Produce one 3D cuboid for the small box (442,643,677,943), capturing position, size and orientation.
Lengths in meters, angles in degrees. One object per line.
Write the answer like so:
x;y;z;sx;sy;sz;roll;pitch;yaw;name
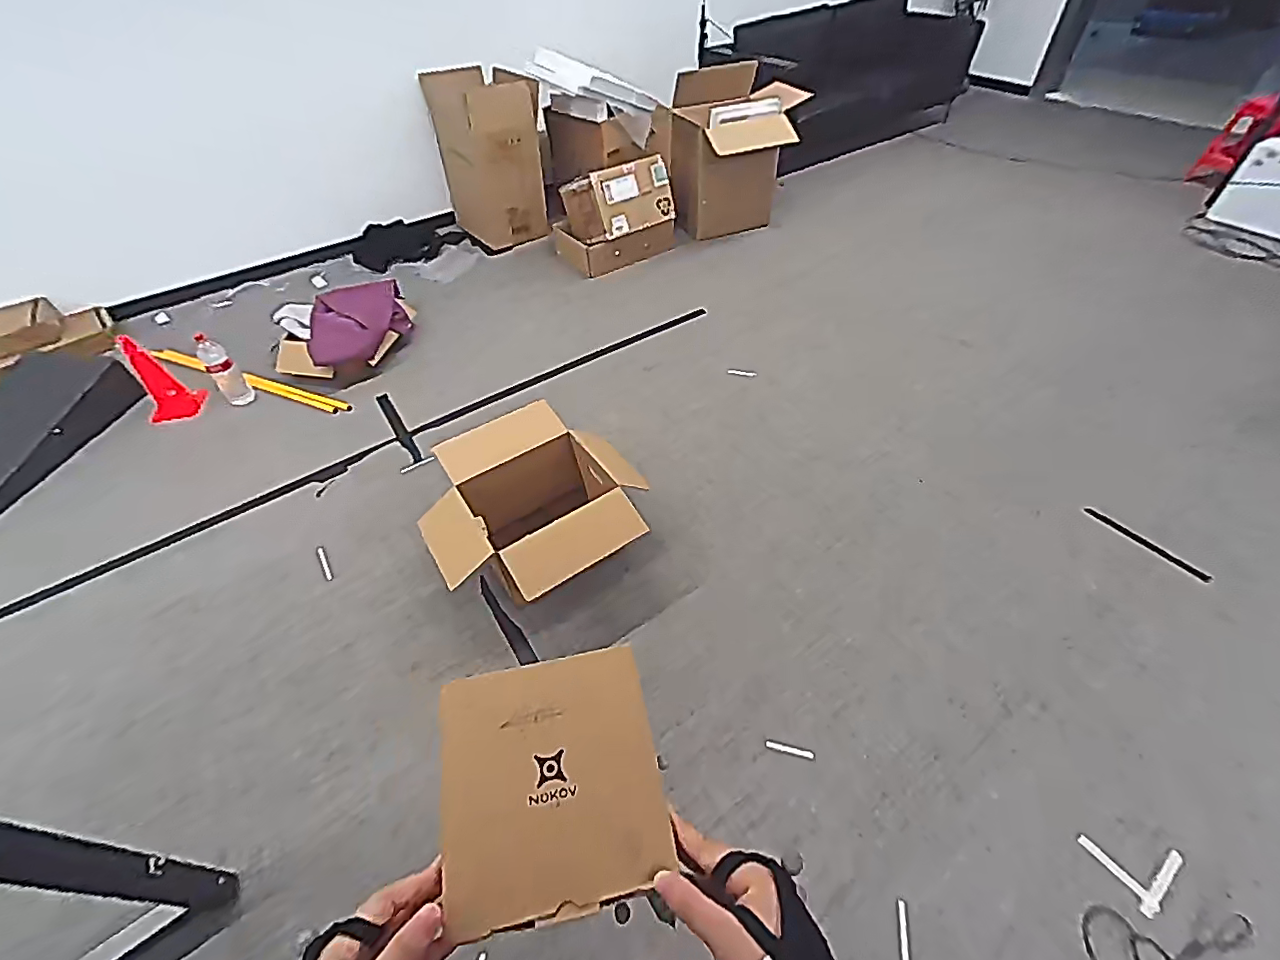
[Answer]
-0.069;0.272;0.482;0.168;0.176;0.179;-10;54;-9;small box
